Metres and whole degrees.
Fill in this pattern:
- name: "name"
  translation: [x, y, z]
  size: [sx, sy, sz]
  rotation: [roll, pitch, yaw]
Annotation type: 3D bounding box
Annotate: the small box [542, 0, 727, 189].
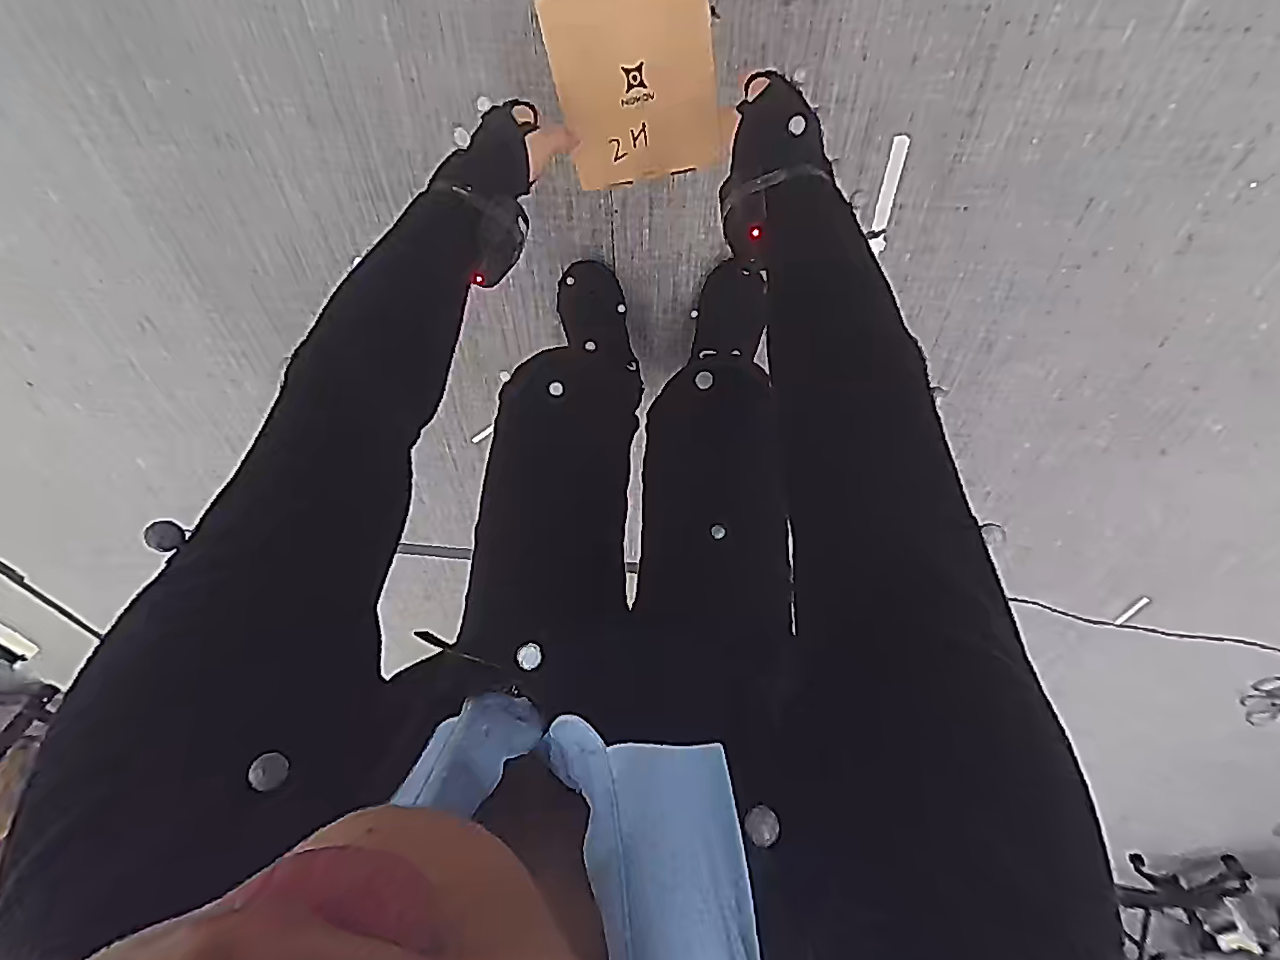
- name: "small box"
  translation: [0.007, -0.457, 0.605]
  size: [0.168, 0.176, 0.179]
  rotation: [-4, 134, 12]
